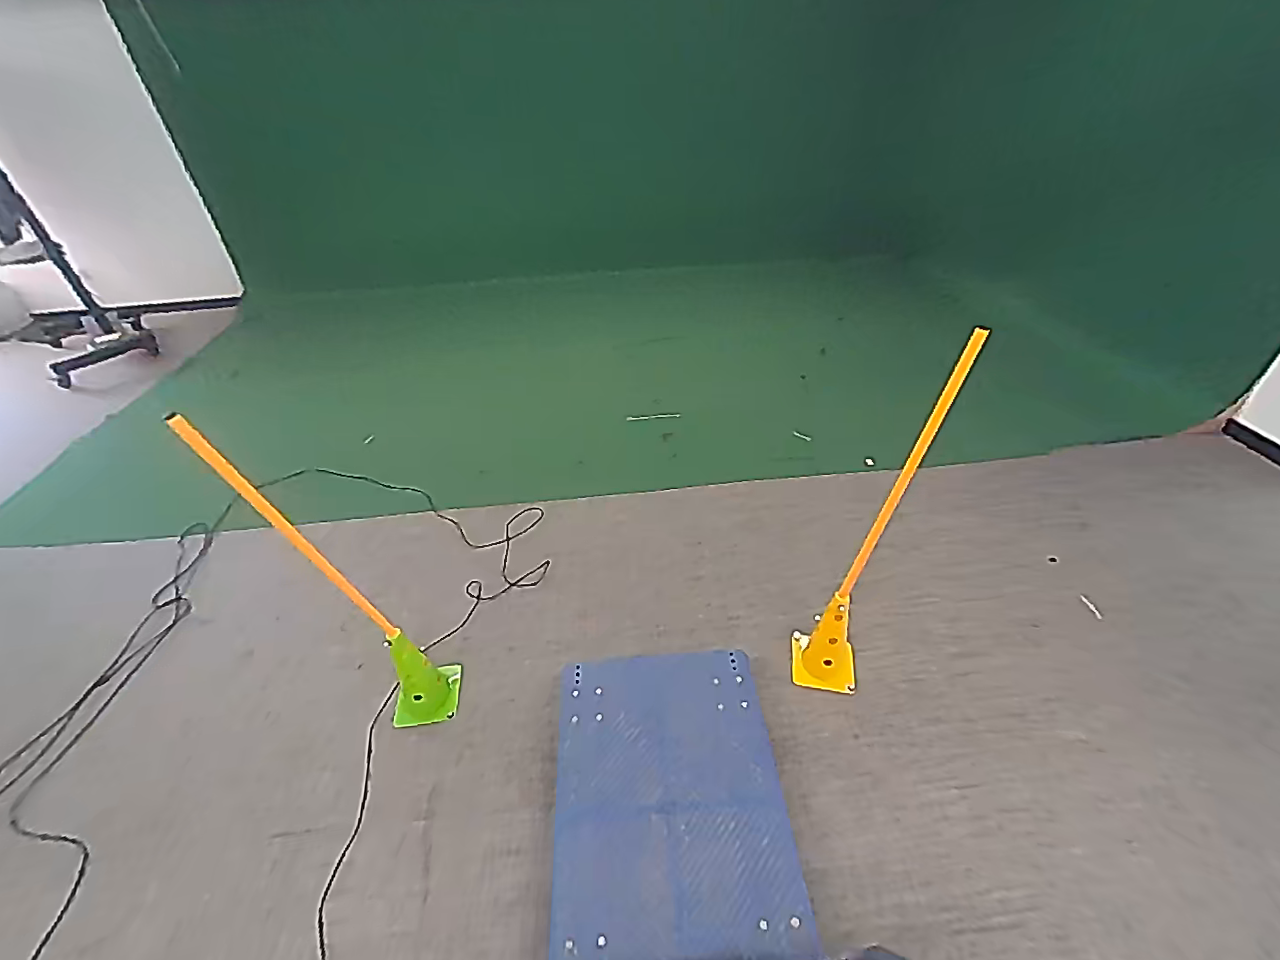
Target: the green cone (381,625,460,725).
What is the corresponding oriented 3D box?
[{"bbox_3d":[-0.721,0.576,1.696,0.202,0.368,0.200,-9,39,-4],"label":"green cone"}]
